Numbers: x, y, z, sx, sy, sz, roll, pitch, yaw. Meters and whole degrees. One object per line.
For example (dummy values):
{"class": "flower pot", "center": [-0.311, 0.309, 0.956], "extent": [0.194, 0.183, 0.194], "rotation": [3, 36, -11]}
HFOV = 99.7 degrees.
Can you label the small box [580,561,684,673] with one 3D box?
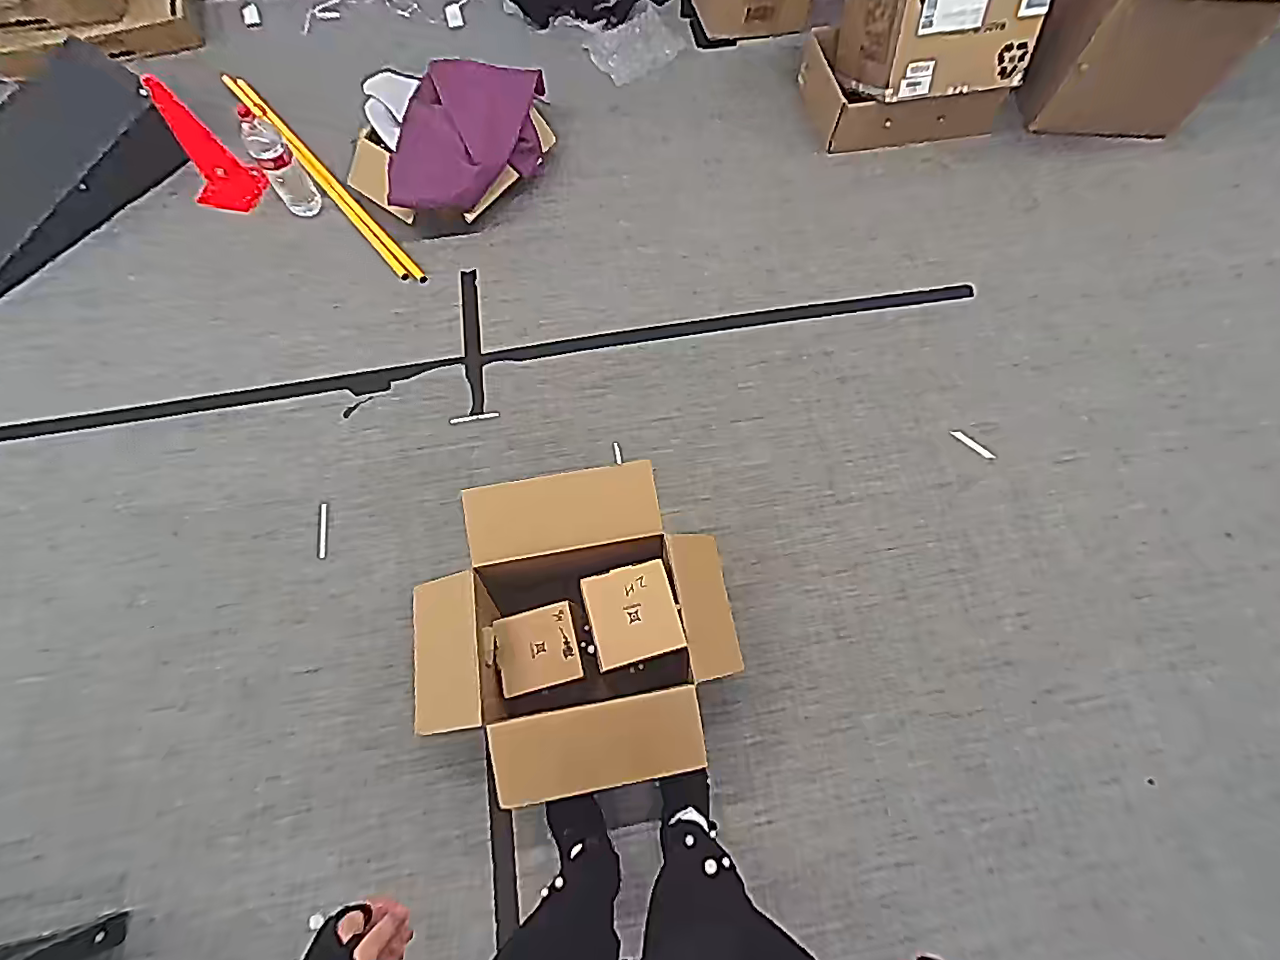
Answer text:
{"class": "small box", "center": [-0.021, 0.282, 1.099], "extent": [0.168, 0.176, 0.179], "rotation": [-14, 70, -10]}
